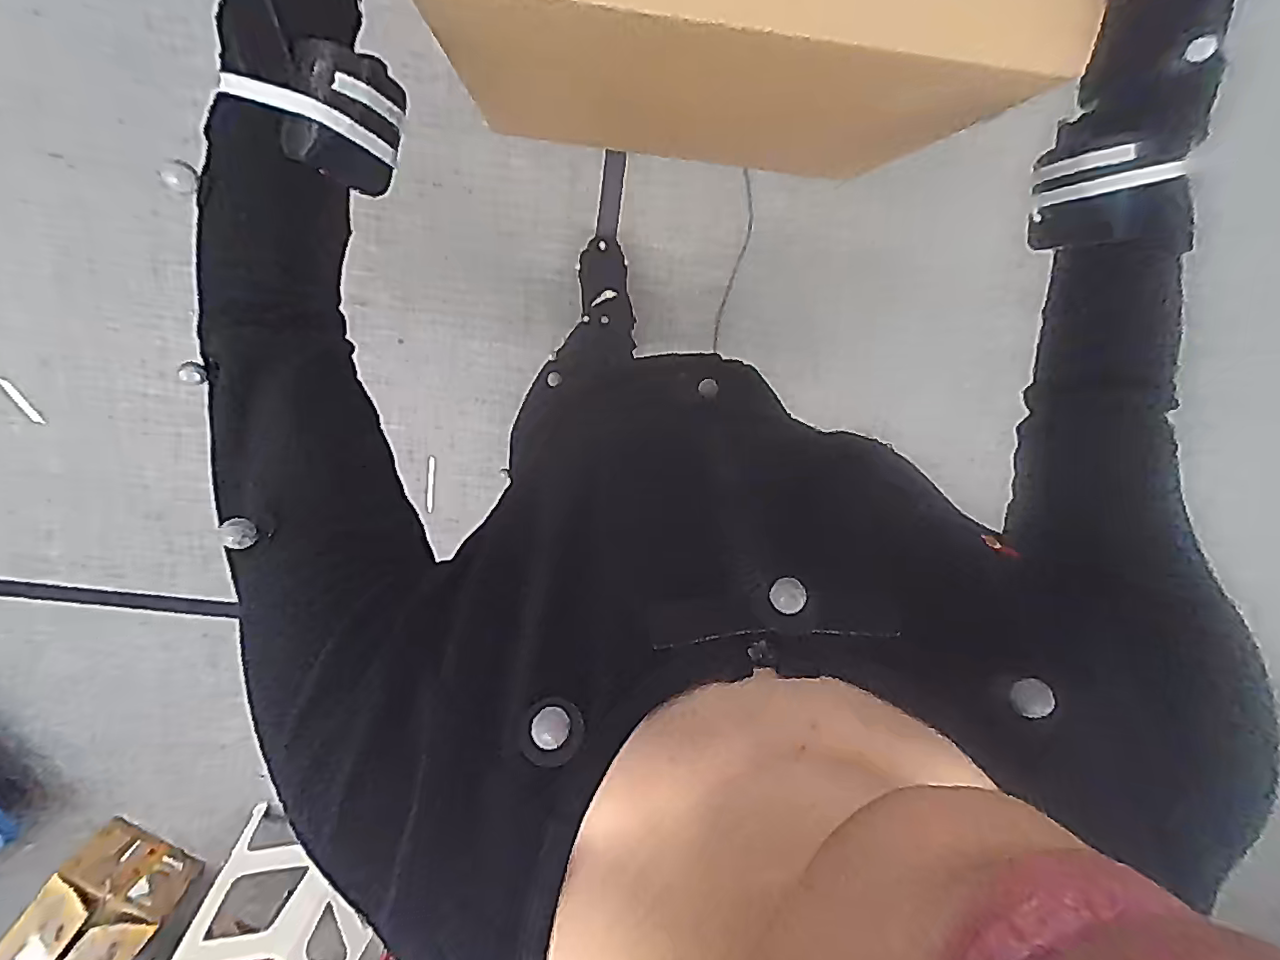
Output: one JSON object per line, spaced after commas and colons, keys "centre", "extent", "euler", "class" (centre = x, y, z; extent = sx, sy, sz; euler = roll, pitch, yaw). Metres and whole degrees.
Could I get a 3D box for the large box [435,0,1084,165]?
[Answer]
{"centre": [0.065, -0.462, 0.406], "extent": [0.408, 0.320, 0.320], "euler": [3, 109, -7], "class": "large box"}
